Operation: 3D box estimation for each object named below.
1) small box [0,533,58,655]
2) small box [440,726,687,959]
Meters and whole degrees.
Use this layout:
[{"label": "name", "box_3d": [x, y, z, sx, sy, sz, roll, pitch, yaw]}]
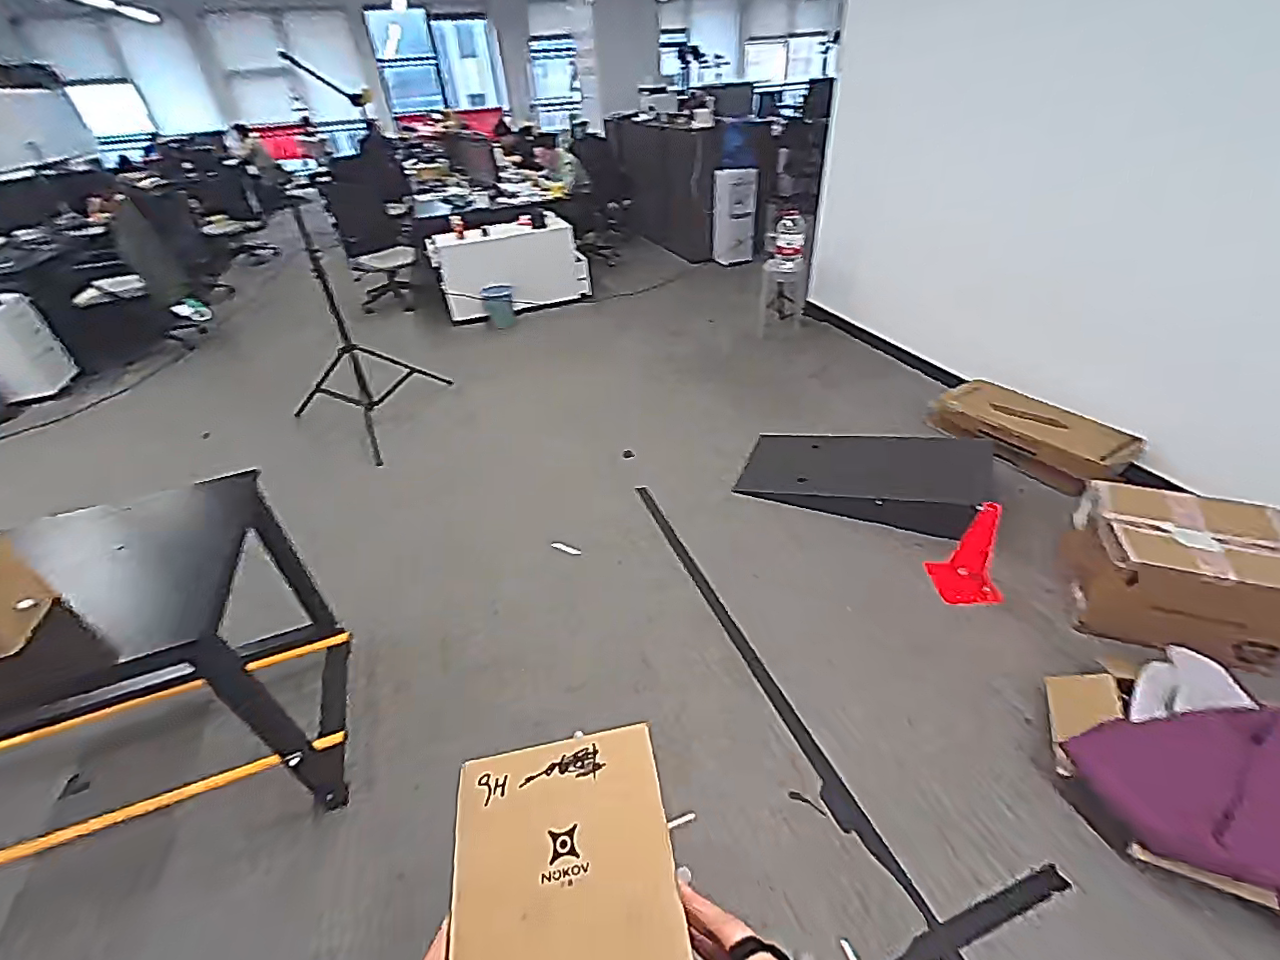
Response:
[{"label": "small box", "box_3d": [-1.262, 0.231, 0.994, 0.179, 0.176, 0.168, -15, 38, -15]}, {"label": "small box", "box_3d": [-0.056, 0.342, 0.454, 0.168, 0.176, 0.179, -11, 44, -6]}]
